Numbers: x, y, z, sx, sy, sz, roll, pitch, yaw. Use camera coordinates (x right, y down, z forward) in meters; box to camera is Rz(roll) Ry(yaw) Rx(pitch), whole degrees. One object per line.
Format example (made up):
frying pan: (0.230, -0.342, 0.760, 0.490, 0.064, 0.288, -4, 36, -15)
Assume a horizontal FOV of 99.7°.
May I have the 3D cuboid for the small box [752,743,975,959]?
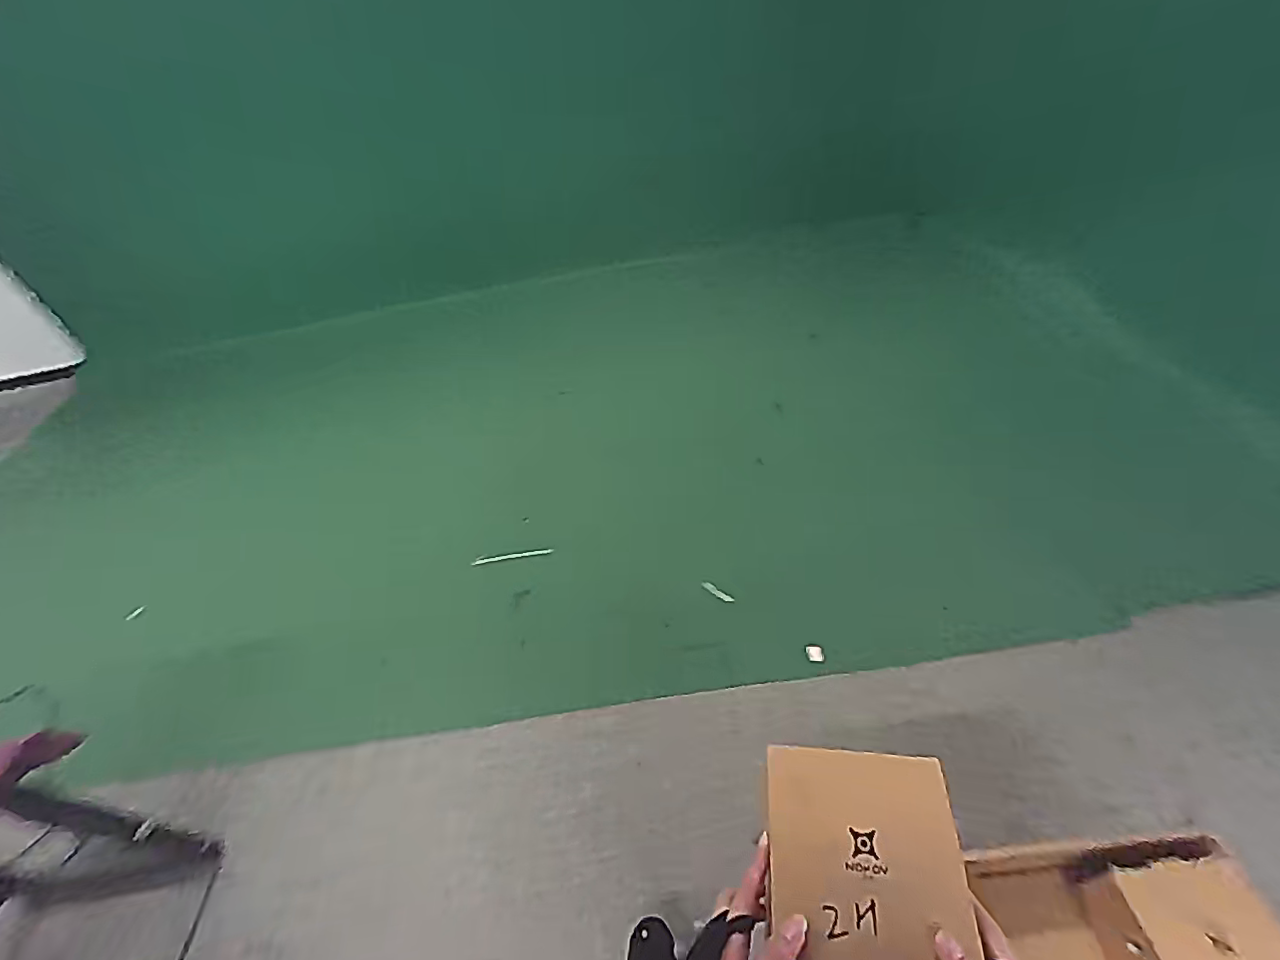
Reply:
small box: (0.200, 0.386, 0.540, 0.168, 0.176, 0.179, 0, 48, 9)
